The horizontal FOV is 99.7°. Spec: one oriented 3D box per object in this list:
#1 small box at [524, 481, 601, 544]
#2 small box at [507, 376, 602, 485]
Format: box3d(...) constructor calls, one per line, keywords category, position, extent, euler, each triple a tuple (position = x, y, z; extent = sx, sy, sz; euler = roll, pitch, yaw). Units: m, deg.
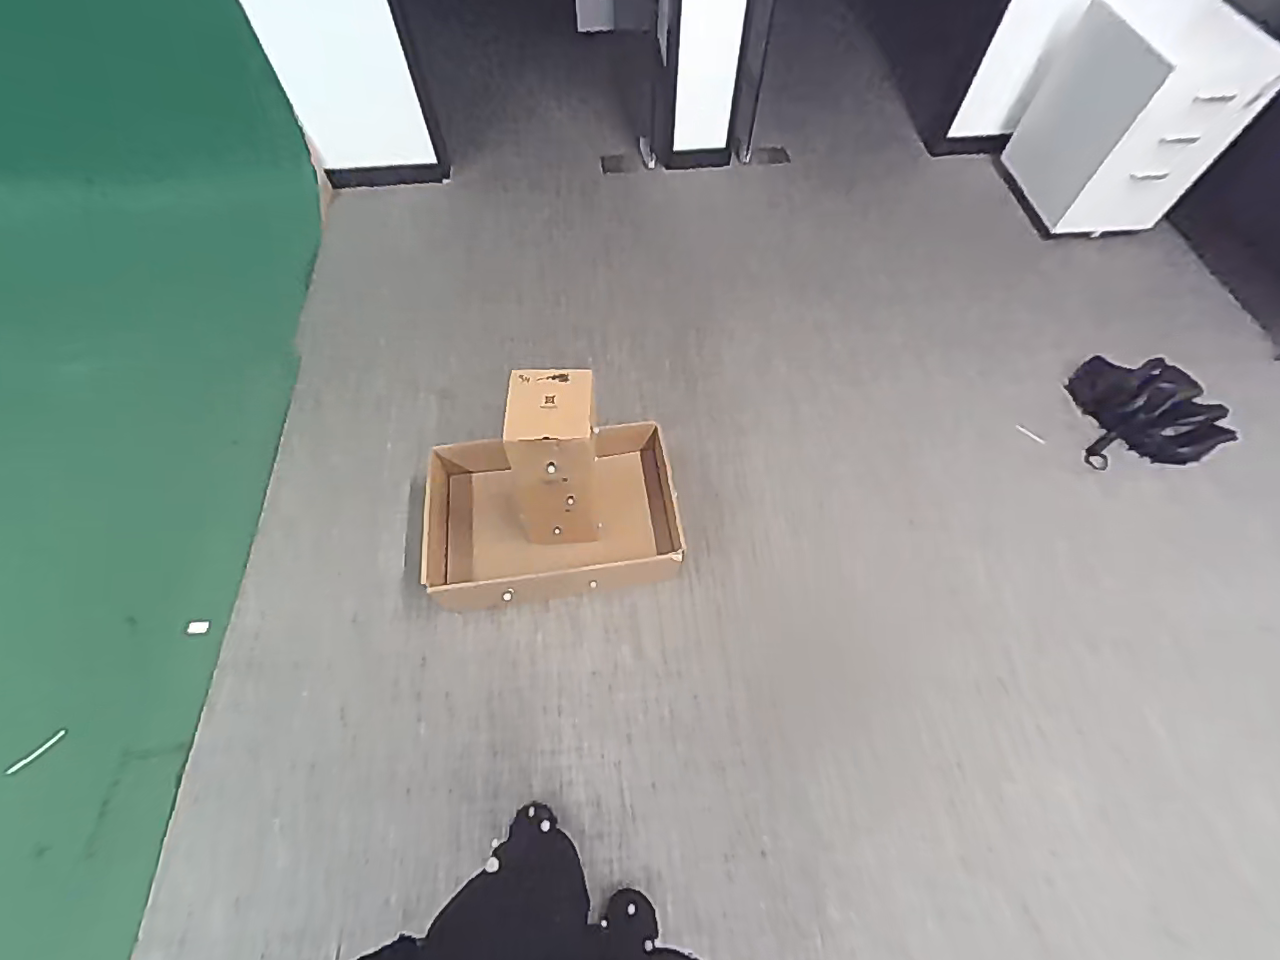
box3d(category="small box", position=(-0.197, 0.061, 1.427), extent=(0.179, 0.176, 0.168), euler=(-2, 60, 1))
box3d(category="small box", position=(-0.173, -0.097, 1.149), extent=(0.168, 0.176, 0.179), euler=(-2, 60, 2))
